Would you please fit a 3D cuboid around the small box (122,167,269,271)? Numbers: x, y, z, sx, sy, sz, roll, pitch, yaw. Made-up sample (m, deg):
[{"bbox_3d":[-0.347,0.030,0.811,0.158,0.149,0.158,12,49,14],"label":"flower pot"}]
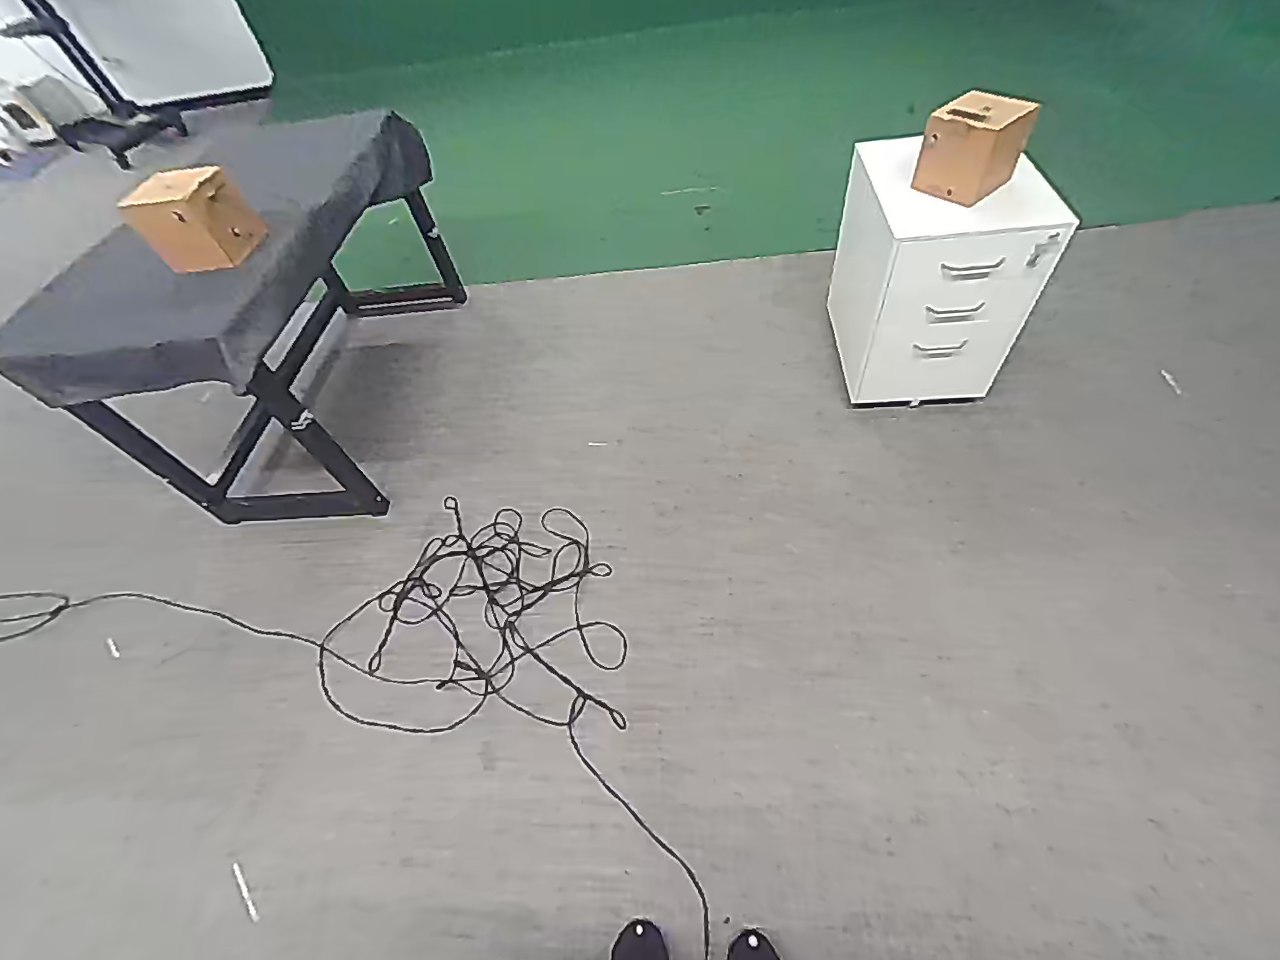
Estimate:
[{"bbox_3d":[-1.058,-0.624,1.304,0.179,0.176,0.168,-2,53,7],"label":"small box"}]
